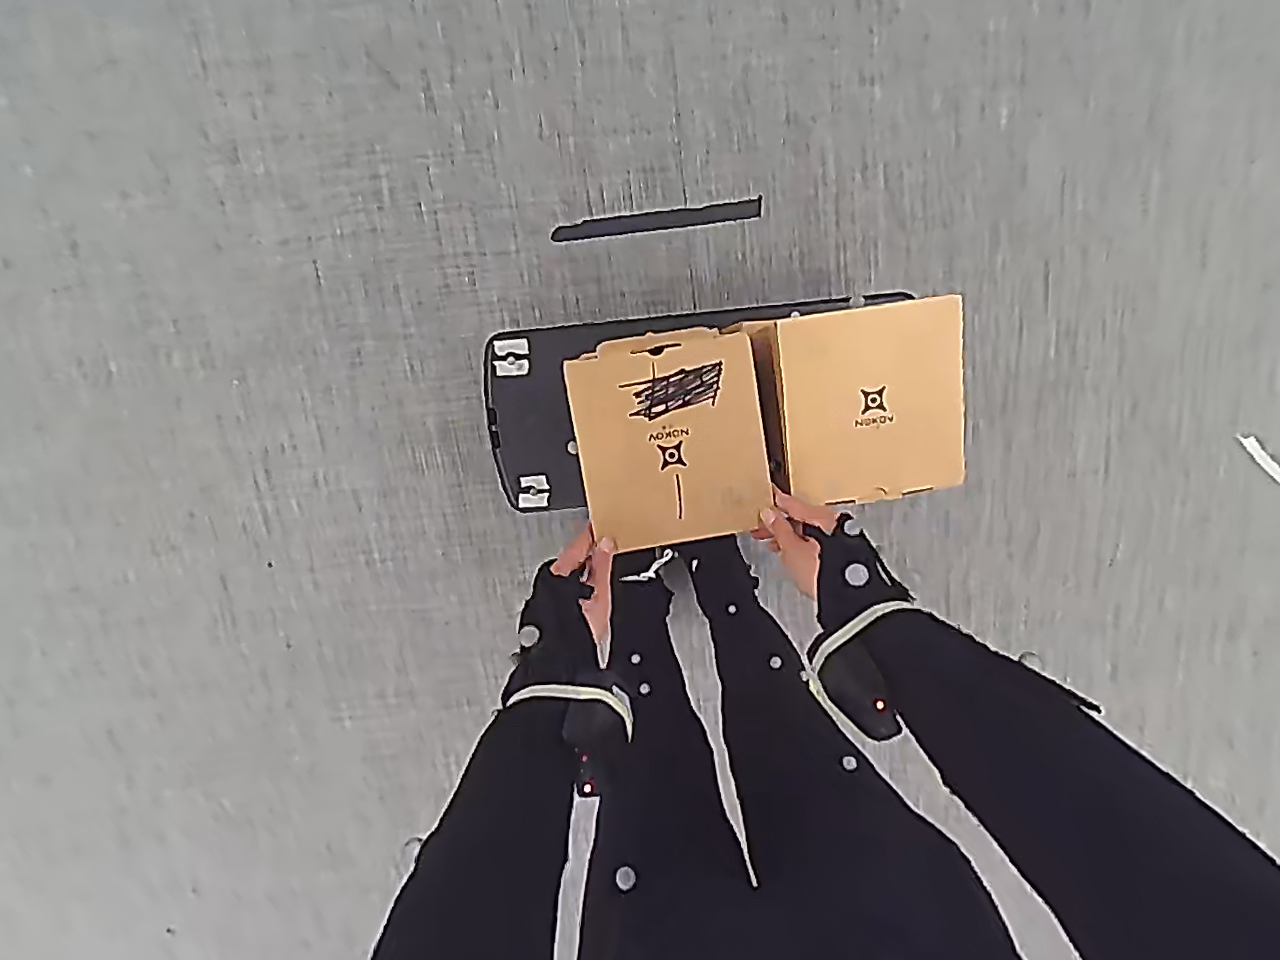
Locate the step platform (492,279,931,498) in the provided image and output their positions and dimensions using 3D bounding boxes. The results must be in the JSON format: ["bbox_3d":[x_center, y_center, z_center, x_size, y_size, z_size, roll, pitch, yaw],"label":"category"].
[{"bbox_3d":[0.110,-0.147,0.897,0.684,0.204,0.286,-6,101,0],"label":"step platform"}]
